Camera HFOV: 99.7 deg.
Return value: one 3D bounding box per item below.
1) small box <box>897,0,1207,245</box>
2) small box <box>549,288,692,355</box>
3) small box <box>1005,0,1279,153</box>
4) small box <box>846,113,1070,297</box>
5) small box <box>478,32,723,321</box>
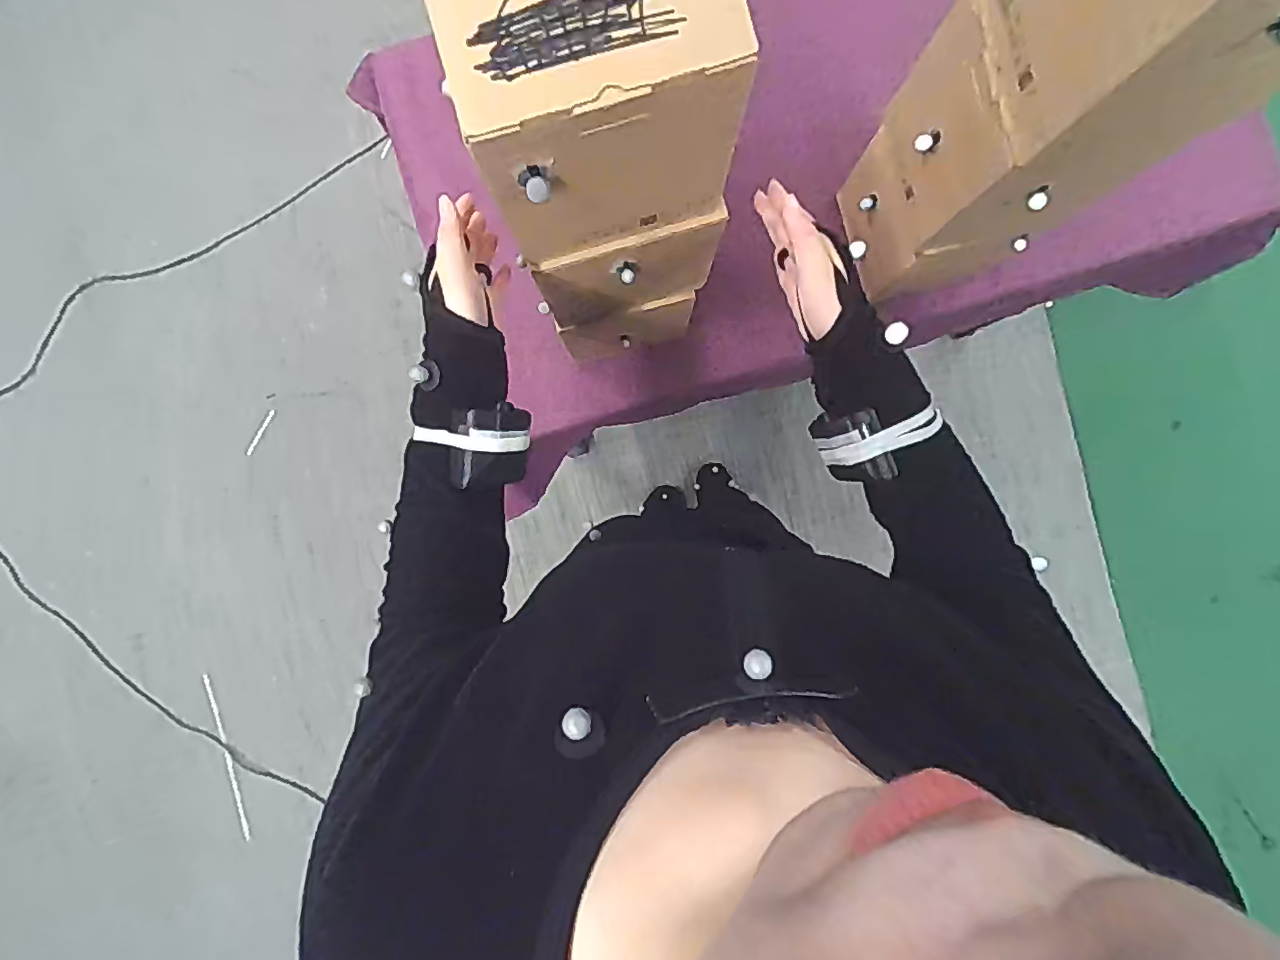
[{"bbox_3d":[0.375,-0.354,0.527,0.179,0.176,0.168,-12,90,1],"label":"small box"},{"bbox_3d":[-0.036,-0.270,0.693,0.168,0.176,0.179,-14,90,0],"label":"small box"},{"bbox_3d":[0.383,-0.355,0.362,0.179,0.176,0.168,-11,90,-1],"label":"small box"},{"bbox_3d":[0.383,-0.355,0.691,0.179,0.176,0.168,-15,90,0],"label":"small box"},{"bbox_3d":[-0.032,-0.272,0.530,0.179,0.176,0.168,-15,91,0],"label":"small box"}]
